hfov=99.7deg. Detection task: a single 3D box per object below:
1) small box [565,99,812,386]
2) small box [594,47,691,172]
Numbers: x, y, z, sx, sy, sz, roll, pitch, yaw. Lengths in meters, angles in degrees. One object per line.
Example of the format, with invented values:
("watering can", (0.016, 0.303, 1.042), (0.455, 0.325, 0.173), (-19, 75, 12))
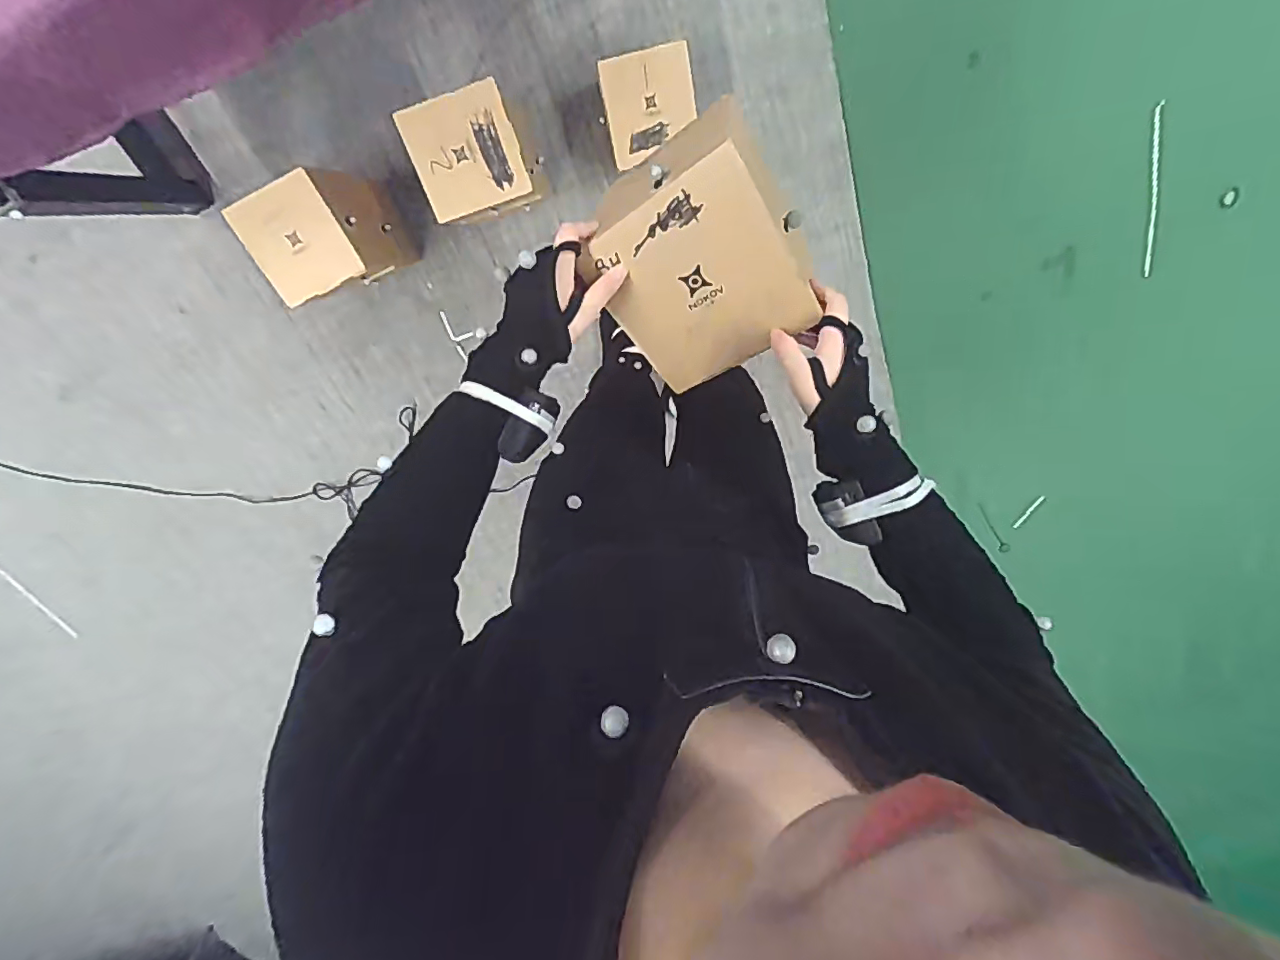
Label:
("small box", (0.056, -0.234, 0.543), (0.168, 0.176, 0.179), (-23, 127, 29))
("small box", (0.011, -0.716, 1.073), (0.168, 0.176, 0.179), (-12, 116, 3))
